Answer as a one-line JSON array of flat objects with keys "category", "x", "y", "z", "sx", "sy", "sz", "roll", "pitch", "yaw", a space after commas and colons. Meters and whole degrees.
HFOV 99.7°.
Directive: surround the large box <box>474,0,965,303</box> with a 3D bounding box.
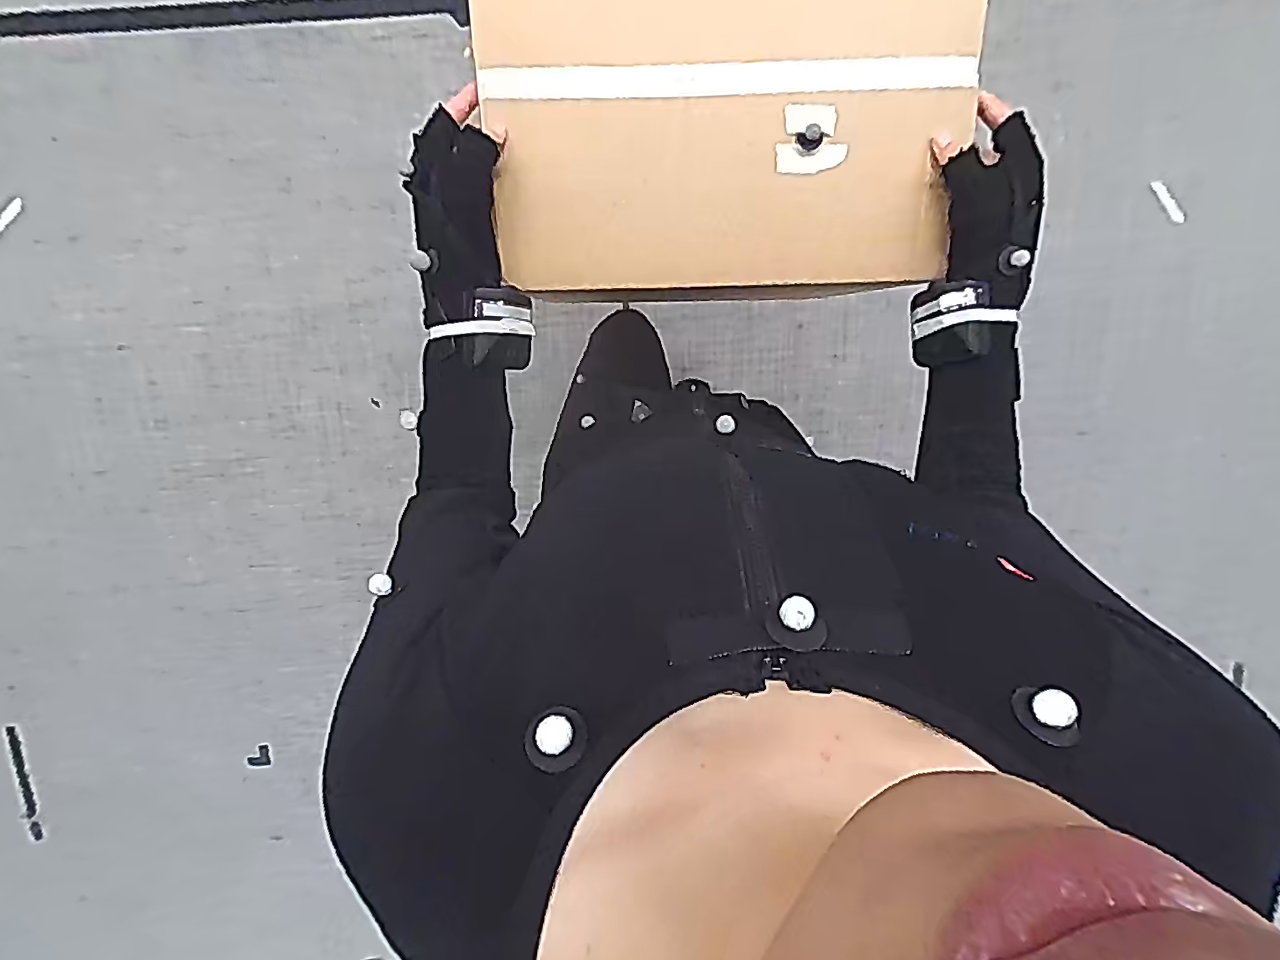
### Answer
[{"category": "large box", "x": 0.062, "y": -0.374, "z": 0.595, "sx": 0.408, "sy": 0.320, "sz": 0.320, "roll": -2, "pitch": 106, "yaw": -1}]
